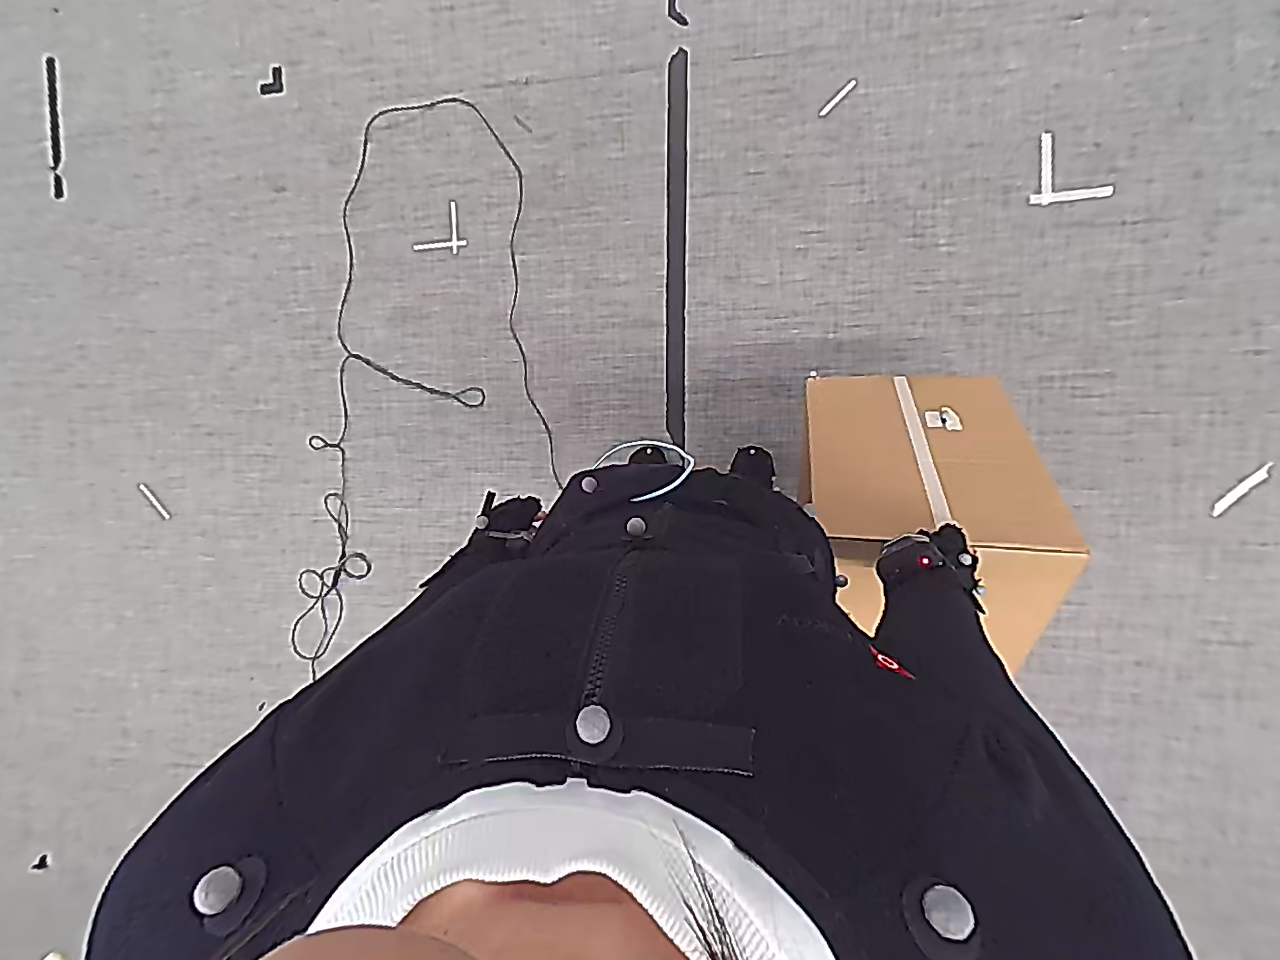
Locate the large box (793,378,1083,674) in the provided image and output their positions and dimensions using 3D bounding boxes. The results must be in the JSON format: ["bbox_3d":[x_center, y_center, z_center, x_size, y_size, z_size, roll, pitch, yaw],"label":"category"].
[{"bbox_3d":[0.436,0.064,0.921,0.320,0.408,0.320,3,130,11],"label":"large box"}]
